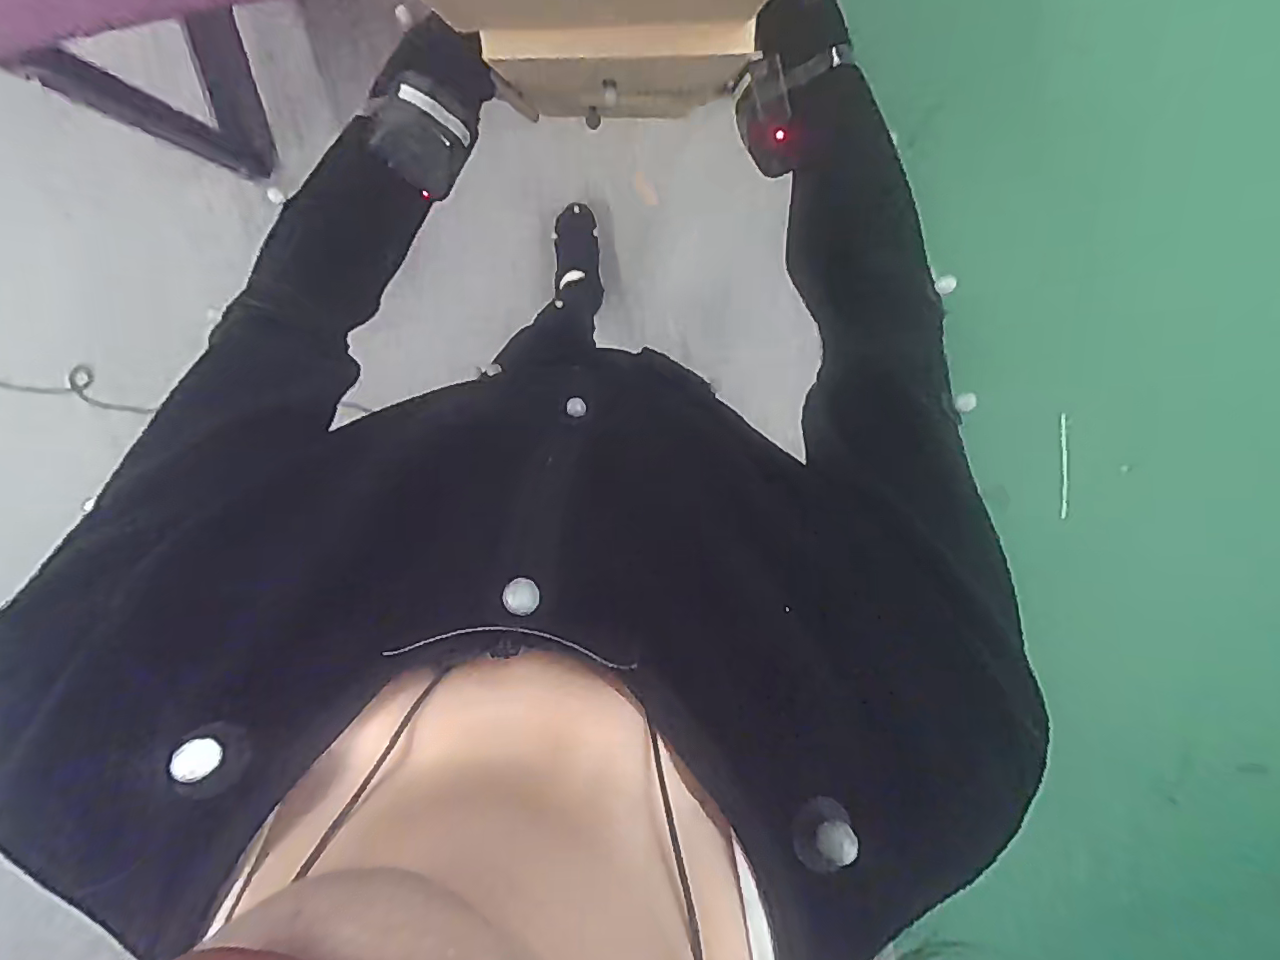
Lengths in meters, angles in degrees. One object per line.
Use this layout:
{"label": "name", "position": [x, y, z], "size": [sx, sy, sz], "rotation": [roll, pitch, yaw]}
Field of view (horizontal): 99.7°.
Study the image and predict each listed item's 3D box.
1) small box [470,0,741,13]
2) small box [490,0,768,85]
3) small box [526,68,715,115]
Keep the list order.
{"label": "small box", "position": [-0.013, -0.301, 0.202], "size": [0.179, 0.176, 0.168], "rotation": [-3, 120, -2]}
{"label": "small box", "position": [-0.009, -0.371, 0.351], "size": [0.168, 0.176, 0.179], "rotation": [-2, 119, -2]}
{"label": "small box", "position": [-0.017, -0.448, 0.497], "size": [0.168, 0.176, 0.179], "rotation": [-1, 119, -2]}
